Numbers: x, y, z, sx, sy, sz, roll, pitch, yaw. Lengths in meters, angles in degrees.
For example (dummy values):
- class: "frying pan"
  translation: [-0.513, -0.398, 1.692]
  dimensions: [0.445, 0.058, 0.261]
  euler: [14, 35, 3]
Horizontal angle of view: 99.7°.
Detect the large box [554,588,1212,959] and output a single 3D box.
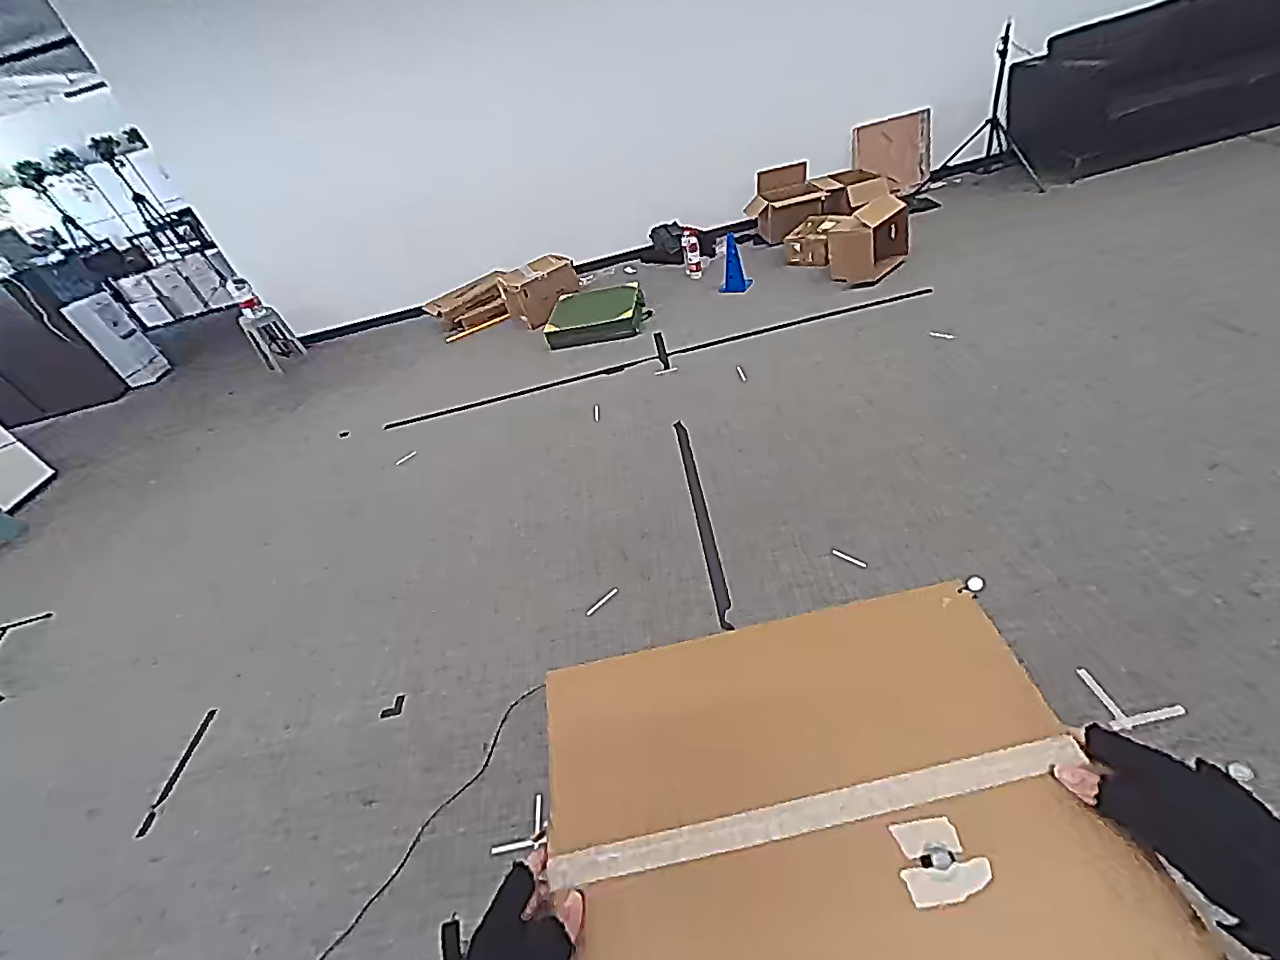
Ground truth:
- class: "large box"
  translation: [0.157, 0.358, 0.522]
  dimensions: [0.408, 0.320, 0.320]
  euler: [-13, 47, -1]
